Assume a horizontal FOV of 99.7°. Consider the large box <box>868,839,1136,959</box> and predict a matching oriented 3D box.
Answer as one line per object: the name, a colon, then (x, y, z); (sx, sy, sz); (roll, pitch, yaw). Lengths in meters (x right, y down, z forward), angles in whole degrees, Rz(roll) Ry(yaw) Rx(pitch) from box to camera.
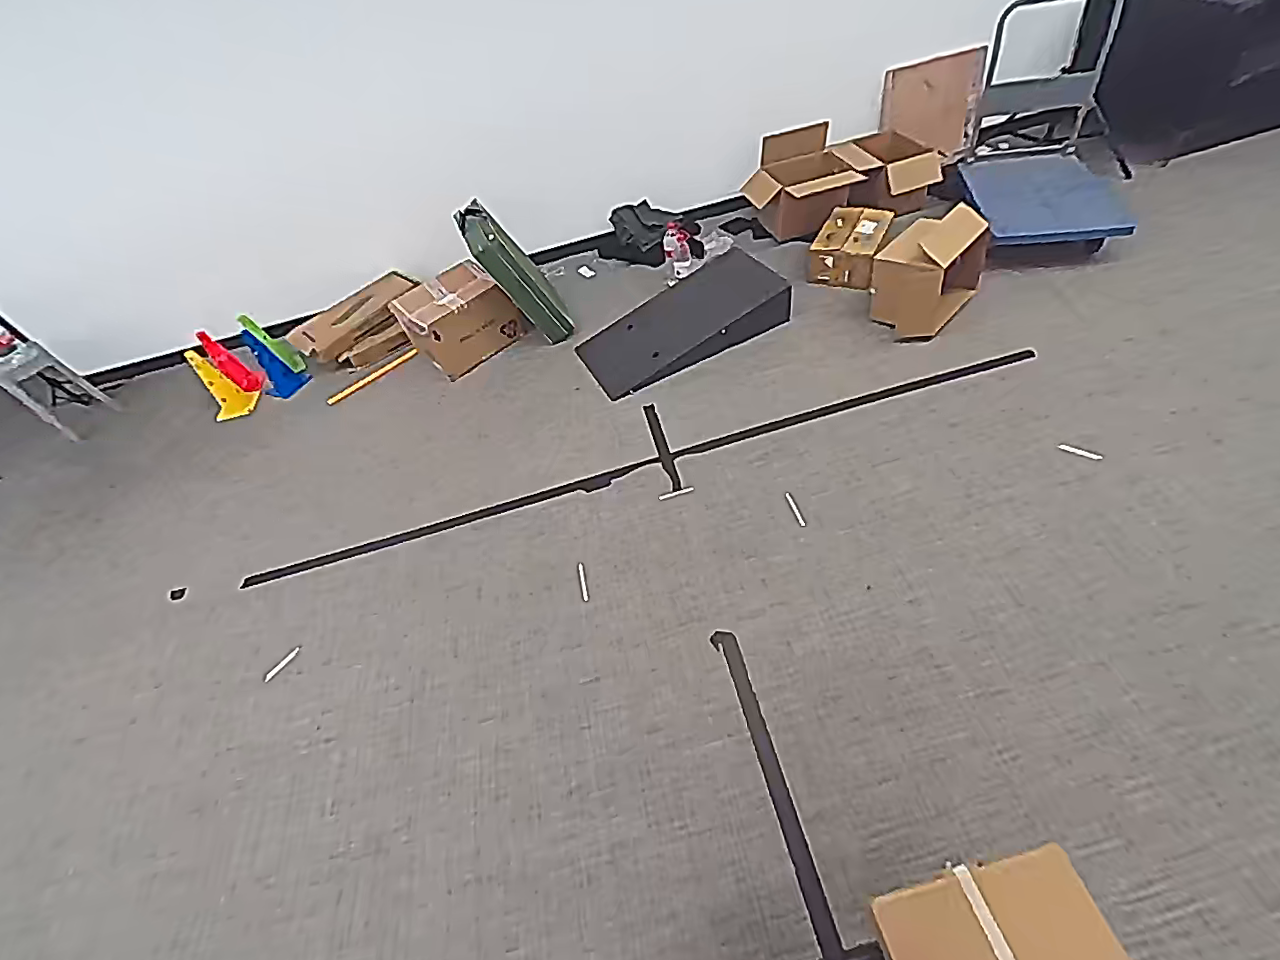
large box: (0.611, 0.853, 0.856); (0.320, 0.320, 0.408); (-22, 50, 5)
